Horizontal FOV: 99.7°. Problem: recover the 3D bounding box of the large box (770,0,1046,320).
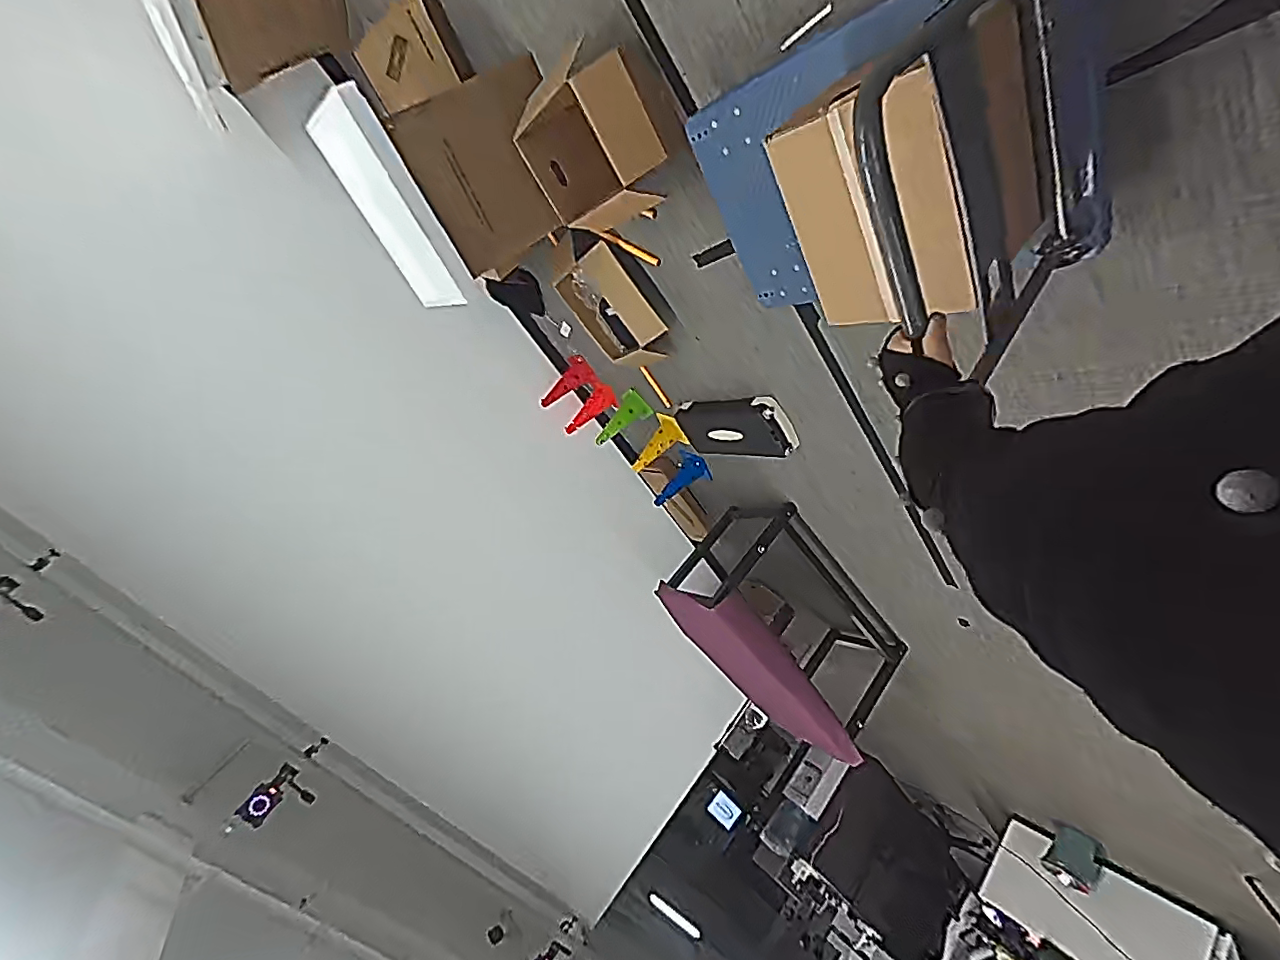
[{"bbox_3d":[0.525,-0.577,1.043,0.320,0.320,0.408,13,142,53],"label":"large box"}]
